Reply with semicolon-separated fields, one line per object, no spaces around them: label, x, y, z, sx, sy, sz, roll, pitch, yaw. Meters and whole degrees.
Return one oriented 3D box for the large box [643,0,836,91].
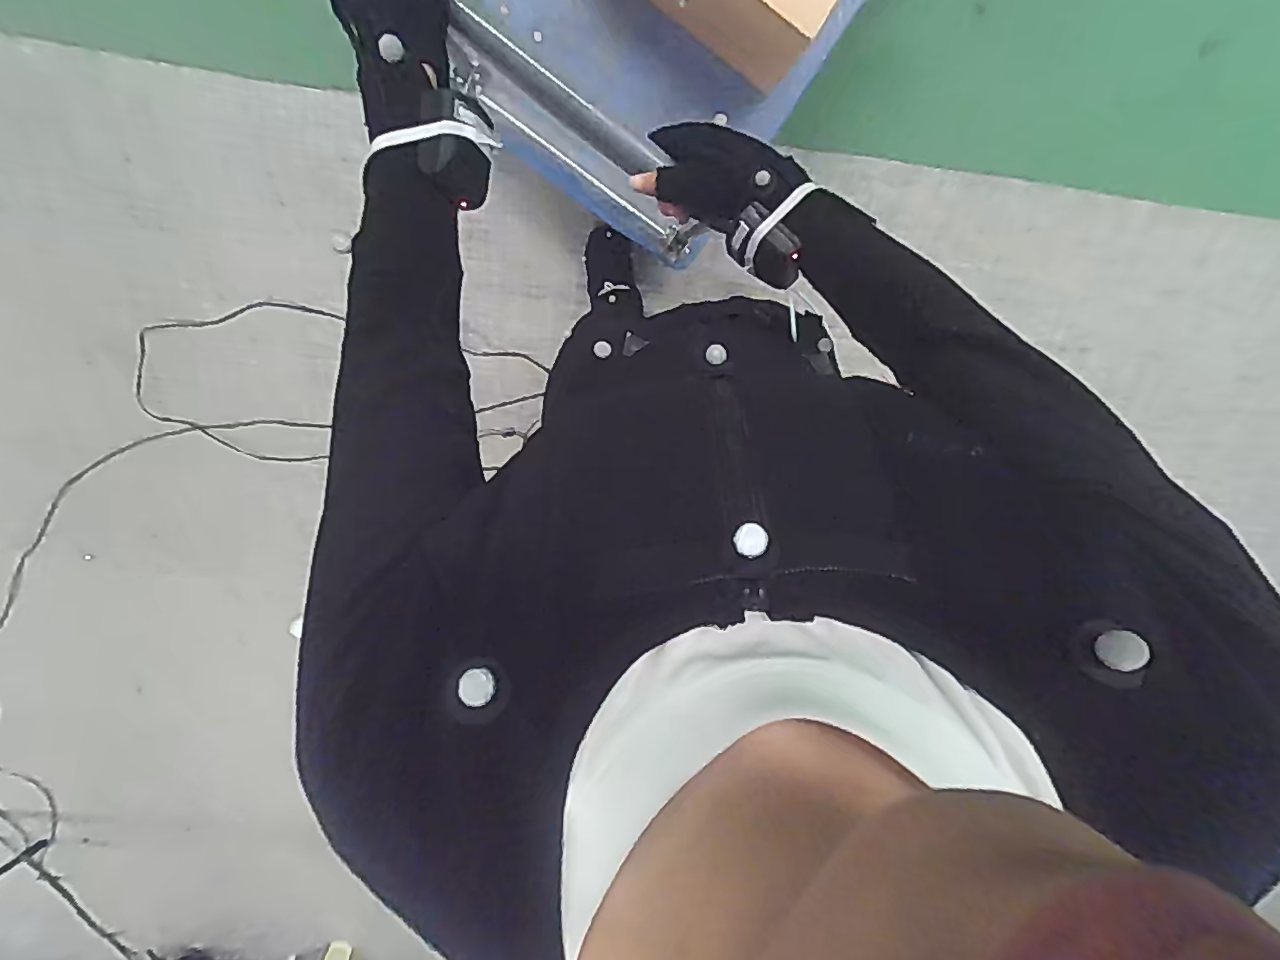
large box;0.153;-0.891;0.813;0.408;0.320;0.320;30;110;-11
